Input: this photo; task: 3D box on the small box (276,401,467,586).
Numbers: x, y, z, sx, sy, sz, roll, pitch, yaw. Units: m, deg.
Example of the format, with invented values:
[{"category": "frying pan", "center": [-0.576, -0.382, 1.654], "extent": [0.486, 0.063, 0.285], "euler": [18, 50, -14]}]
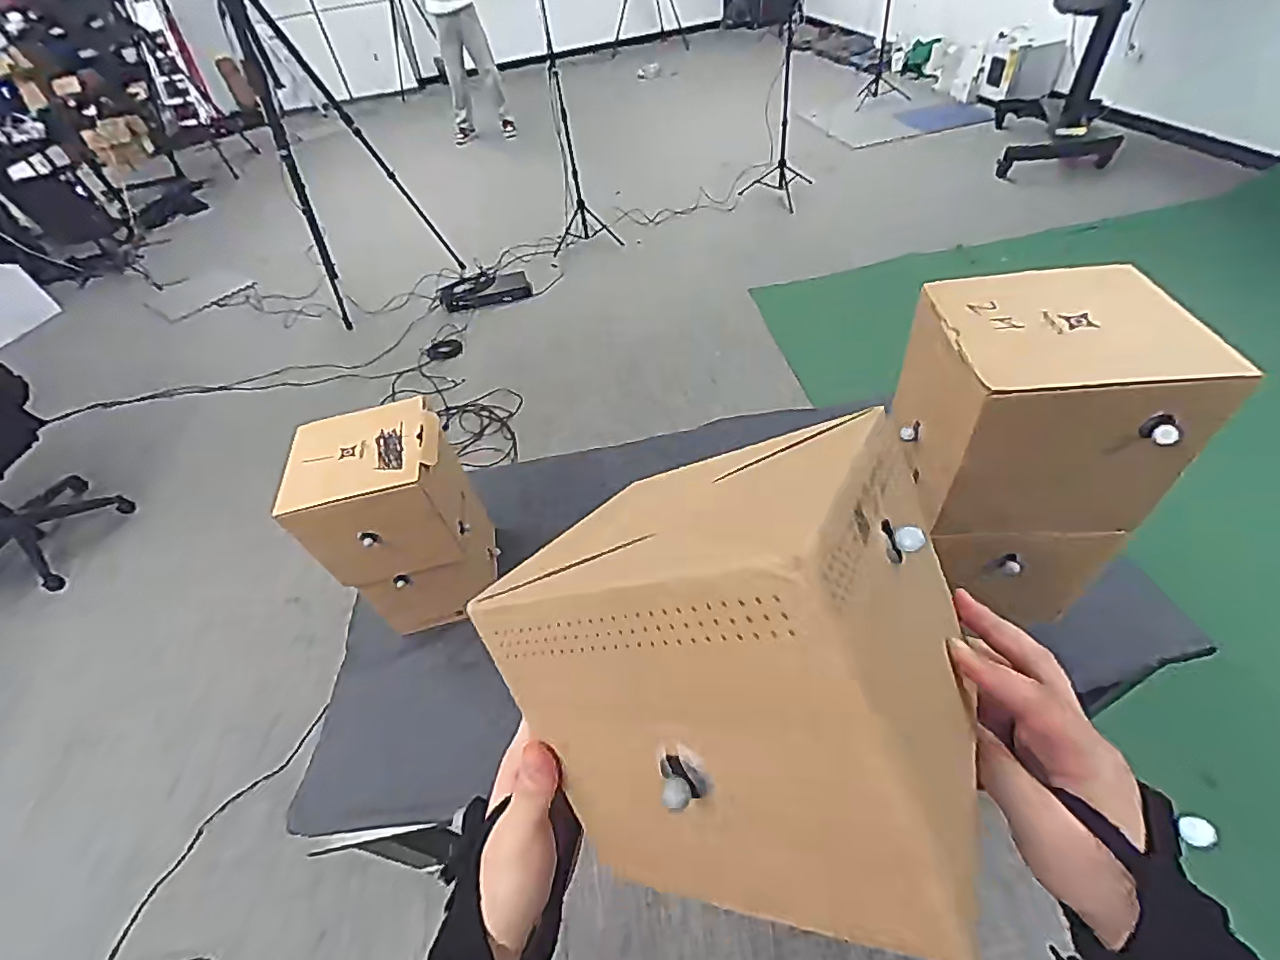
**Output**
[{"category": "small box", "center": [-0.349, 0.022, 0.747], "extent": [0.179, 0.176, 0.168], "euler": [-14, 48, -3]}]

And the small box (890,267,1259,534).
[{"category": "small box", "center": [0.347, -0.065, 0.484], "extent": [0.179, 0.176, 0.168], "euler": [-3, 46, 9]}]

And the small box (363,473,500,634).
[{"category": "small box", "center": [-0.333, 0.120, 0.879], "extent": [0.168, 0.176, 0.179], "euler": [-14, 48, -4]}]

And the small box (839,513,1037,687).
[{"category": "small box", "center": [0.385, 0.150, 0.728], "extent": [0.168, 0.176, 0.179], "euler": [-12, 47, 0]}]

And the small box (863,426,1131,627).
[{"category": "small box", "center": [0.366, 0.050, 0.600], "extent": [0.179, 0.176, 0.168], "euler": [-4, 46, 8]}]
